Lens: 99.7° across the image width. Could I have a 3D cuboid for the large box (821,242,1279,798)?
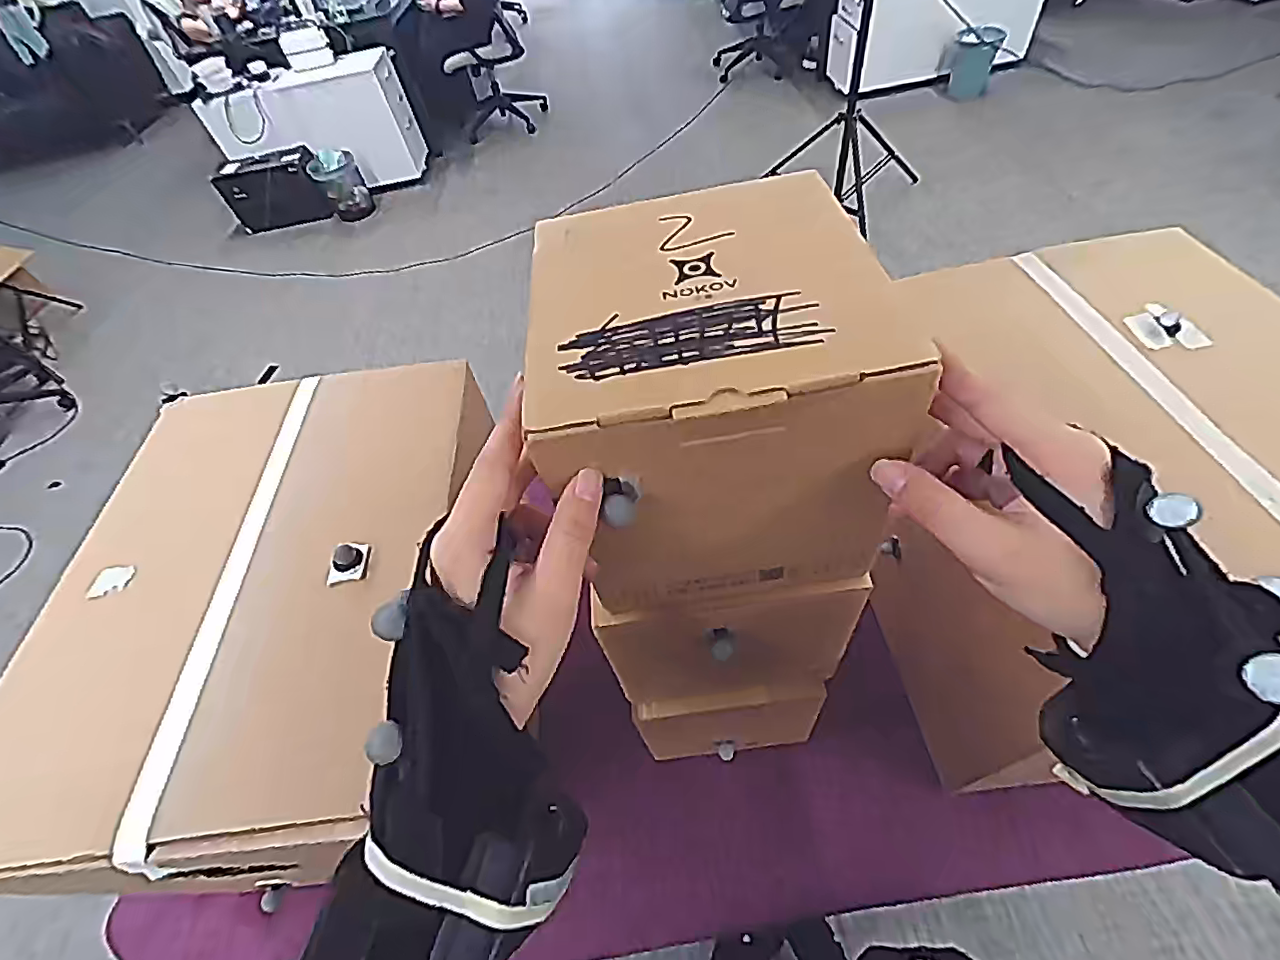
[{"bbox_3d":[0.402,0.038,0.526,0.320,0.320,0.408,-10,51,2],"label":"large box"}]
